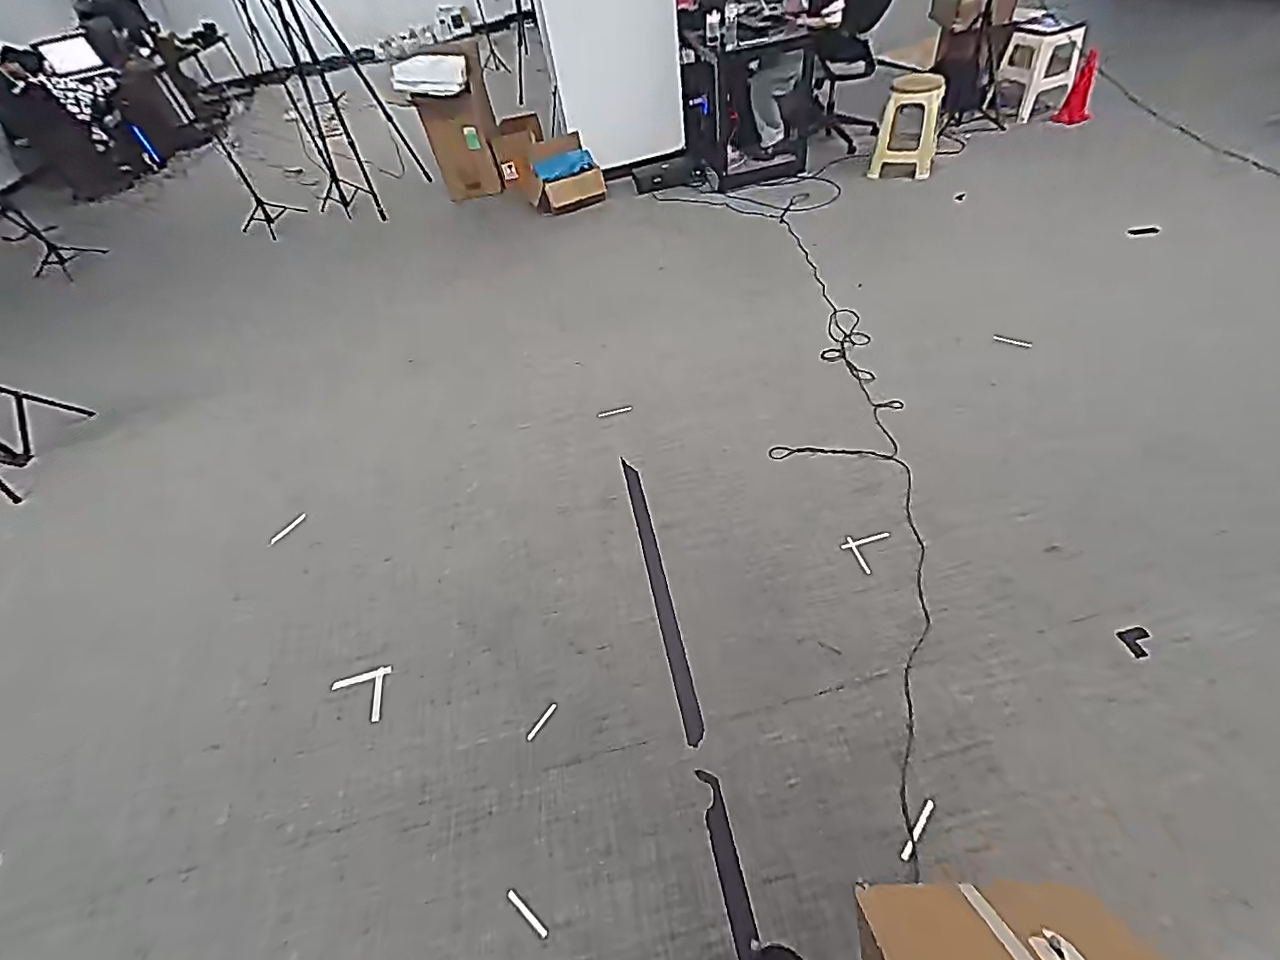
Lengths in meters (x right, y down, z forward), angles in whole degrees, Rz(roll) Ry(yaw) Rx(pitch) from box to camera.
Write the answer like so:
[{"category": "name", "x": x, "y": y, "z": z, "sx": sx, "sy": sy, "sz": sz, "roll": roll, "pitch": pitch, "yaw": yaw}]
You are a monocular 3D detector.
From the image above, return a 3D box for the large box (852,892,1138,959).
[{"category": "large box", "x": 0.460, "y": 0.732, "z": 0.575, "sx": 0.320, "sy": 0.408, "sz": 0.320, "roll": -3, "pitch": 81, "yaw": 5}]
